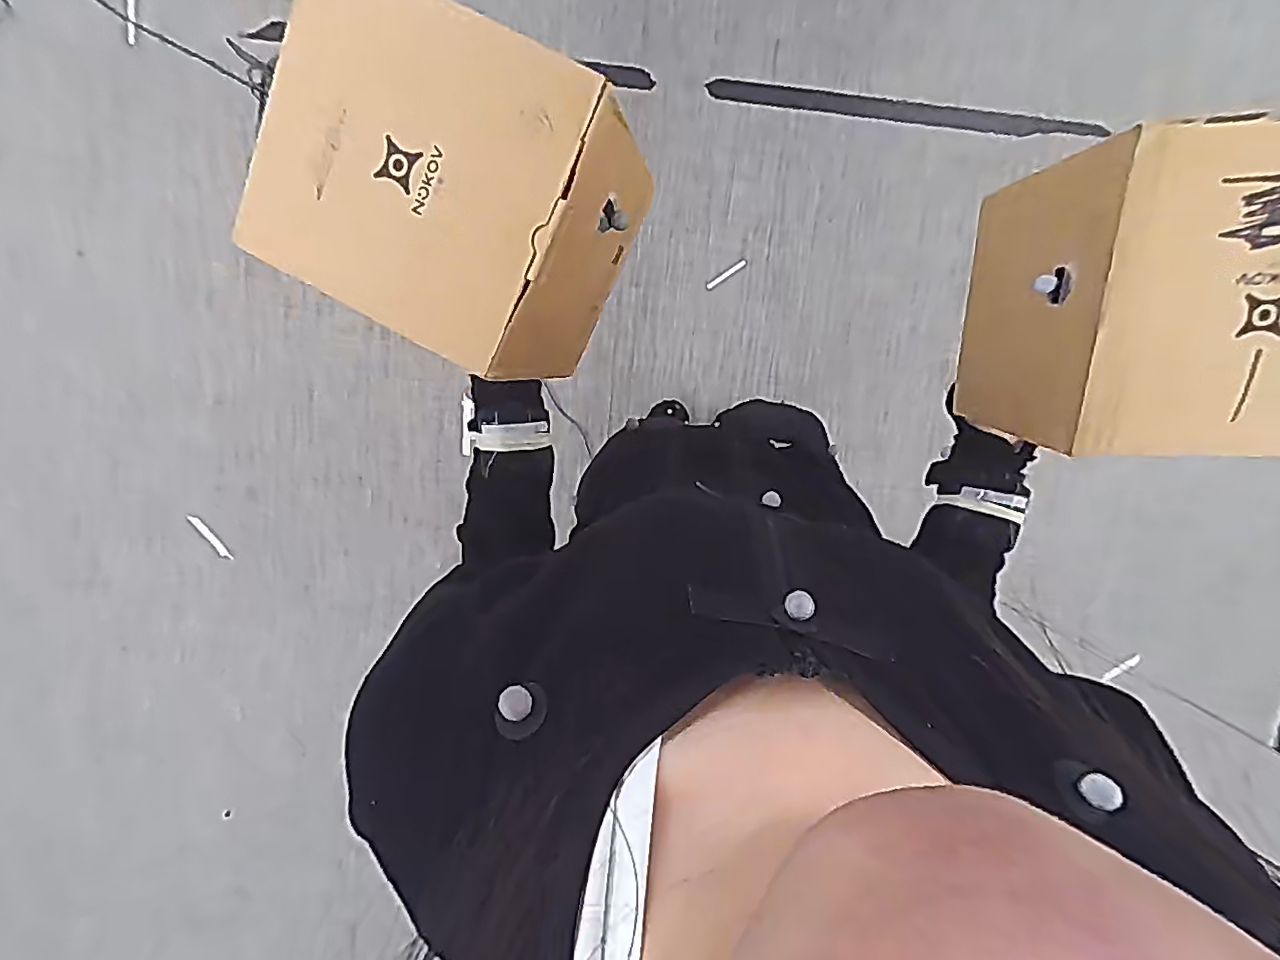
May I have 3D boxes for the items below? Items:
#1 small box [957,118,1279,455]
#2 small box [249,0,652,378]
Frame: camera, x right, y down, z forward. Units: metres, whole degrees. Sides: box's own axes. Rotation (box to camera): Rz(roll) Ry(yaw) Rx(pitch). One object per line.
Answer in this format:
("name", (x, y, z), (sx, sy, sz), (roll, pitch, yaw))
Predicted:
("small box", (0.345, -0.120, 0.370), (0.168, 0.176, 0.179), (1, 106, 7))
("small box", (-0.107, -0.184, 0.372), (0.179, 0.176, 0.168), (28, 104, 4))
